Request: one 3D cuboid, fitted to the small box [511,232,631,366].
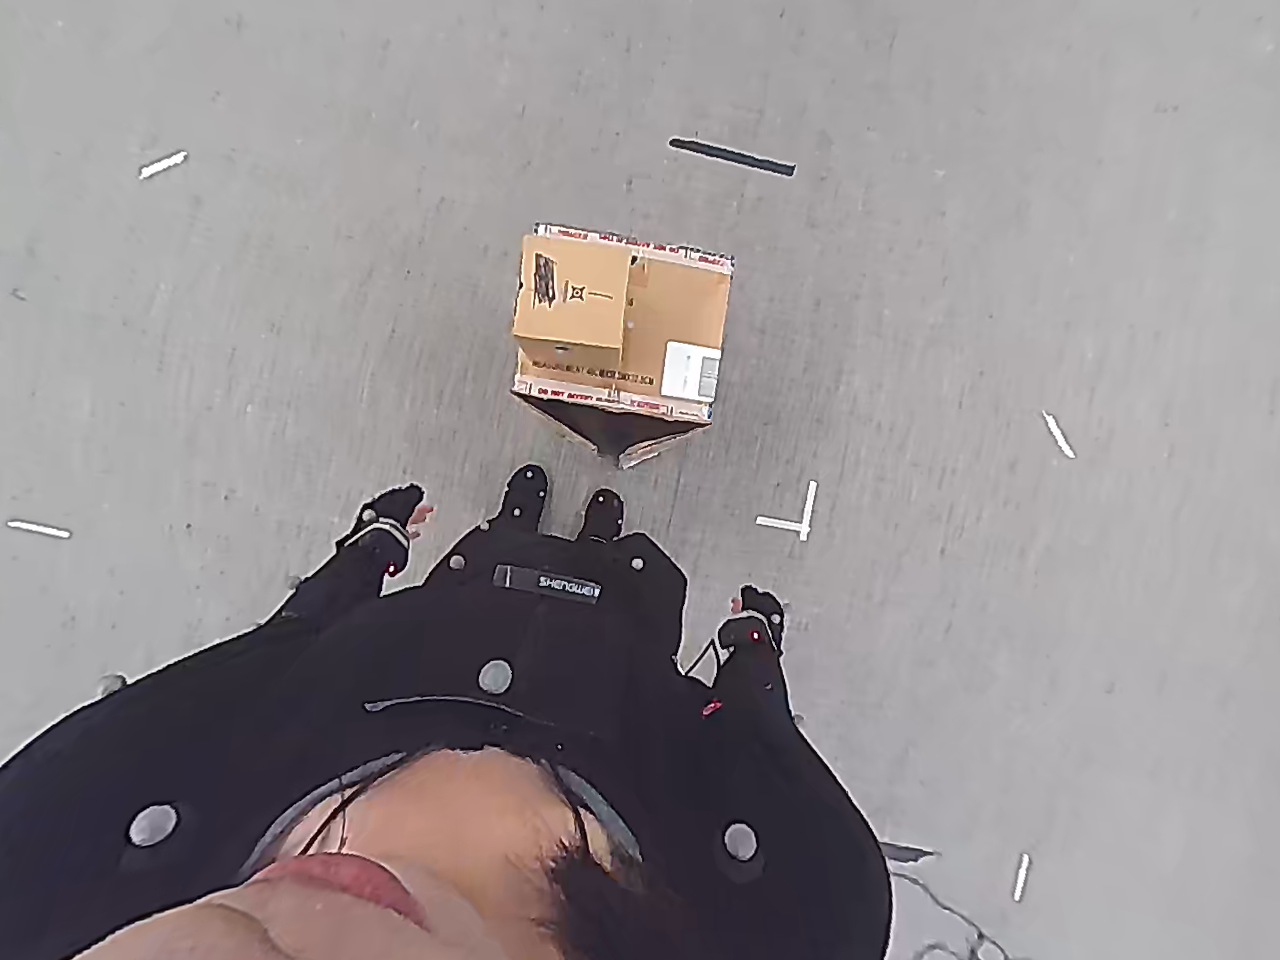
[{"bbox_3d":[-0.113,-0.303,0.938,0.179,0.176,0.168,7,89,-3],"label":"small box"}]
